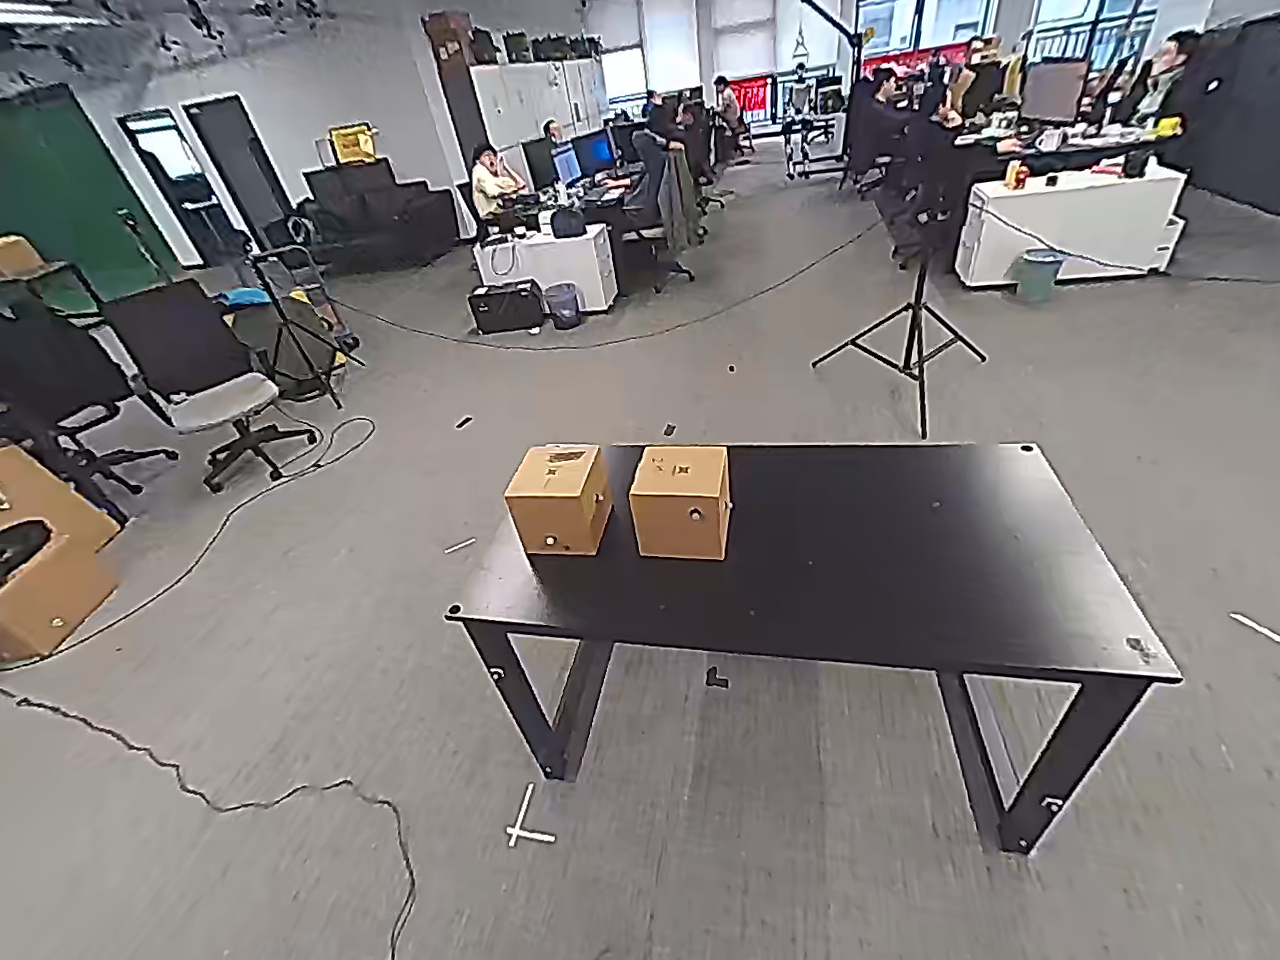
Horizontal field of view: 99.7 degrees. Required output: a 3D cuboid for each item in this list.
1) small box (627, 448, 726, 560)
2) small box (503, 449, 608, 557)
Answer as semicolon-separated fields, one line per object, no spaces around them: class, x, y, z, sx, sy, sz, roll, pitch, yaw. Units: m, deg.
small box;0.085;0.050;1.122;0.179;0.176;0.168;1;37;14
small box;-0.174;0.047;1.187;0.168;0.176;0.179;0;39;13
